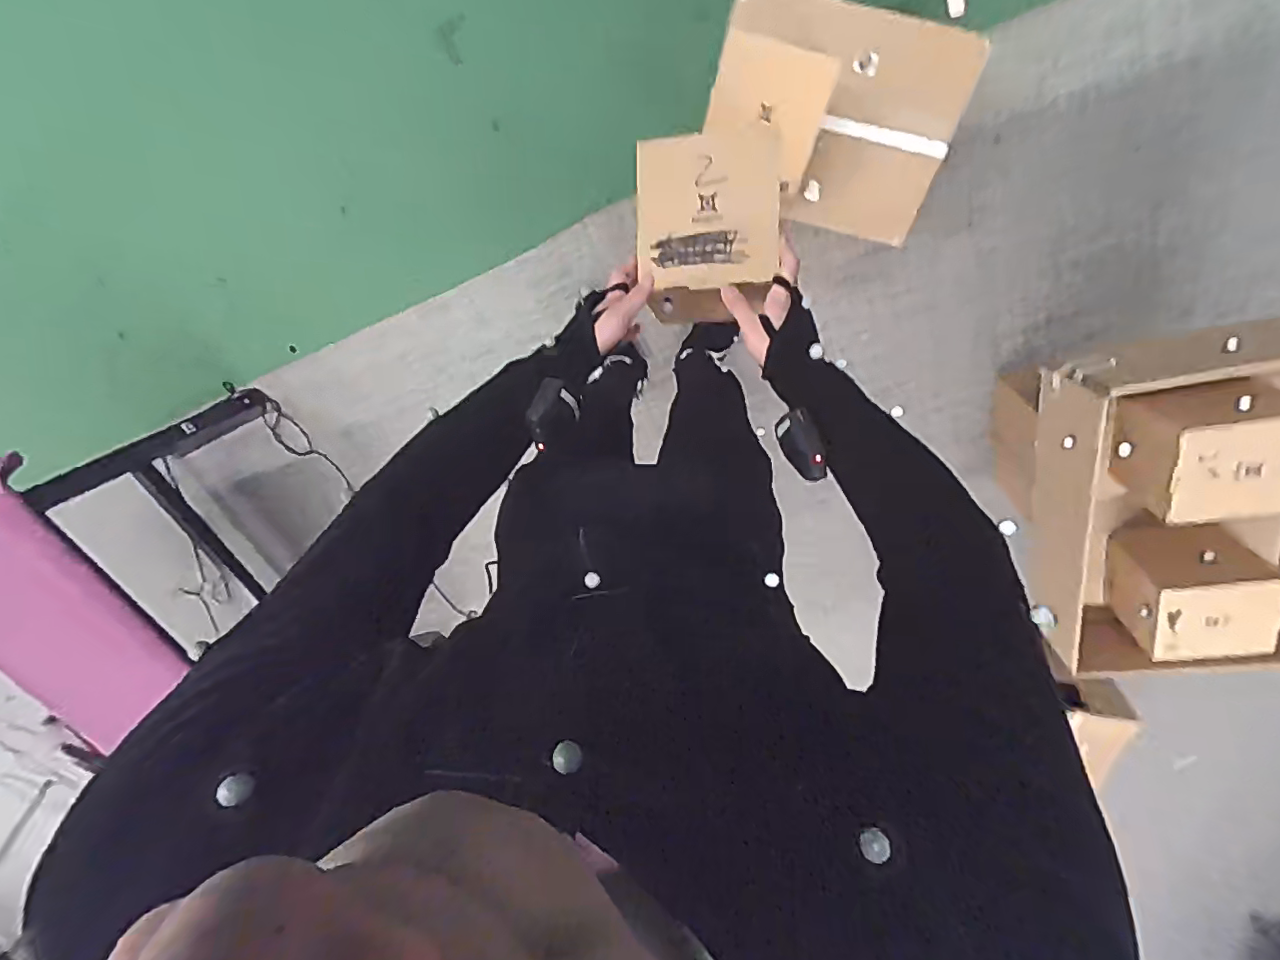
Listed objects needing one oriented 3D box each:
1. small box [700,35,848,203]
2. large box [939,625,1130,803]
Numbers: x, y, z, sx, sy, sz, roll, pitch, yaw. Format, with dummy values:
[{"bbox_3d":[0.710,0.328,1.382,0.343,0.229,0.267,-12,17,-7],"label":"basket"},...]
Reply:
[{"bbox_3d":[0.201,-0.563,0.858,0.168,0.176,0.179,17,123,0],"label":"small box"},{"bbox_3d":[1.177,0.721,1.673,0.320,0.320,0.408,5,119,8],"label":"large box"}]
